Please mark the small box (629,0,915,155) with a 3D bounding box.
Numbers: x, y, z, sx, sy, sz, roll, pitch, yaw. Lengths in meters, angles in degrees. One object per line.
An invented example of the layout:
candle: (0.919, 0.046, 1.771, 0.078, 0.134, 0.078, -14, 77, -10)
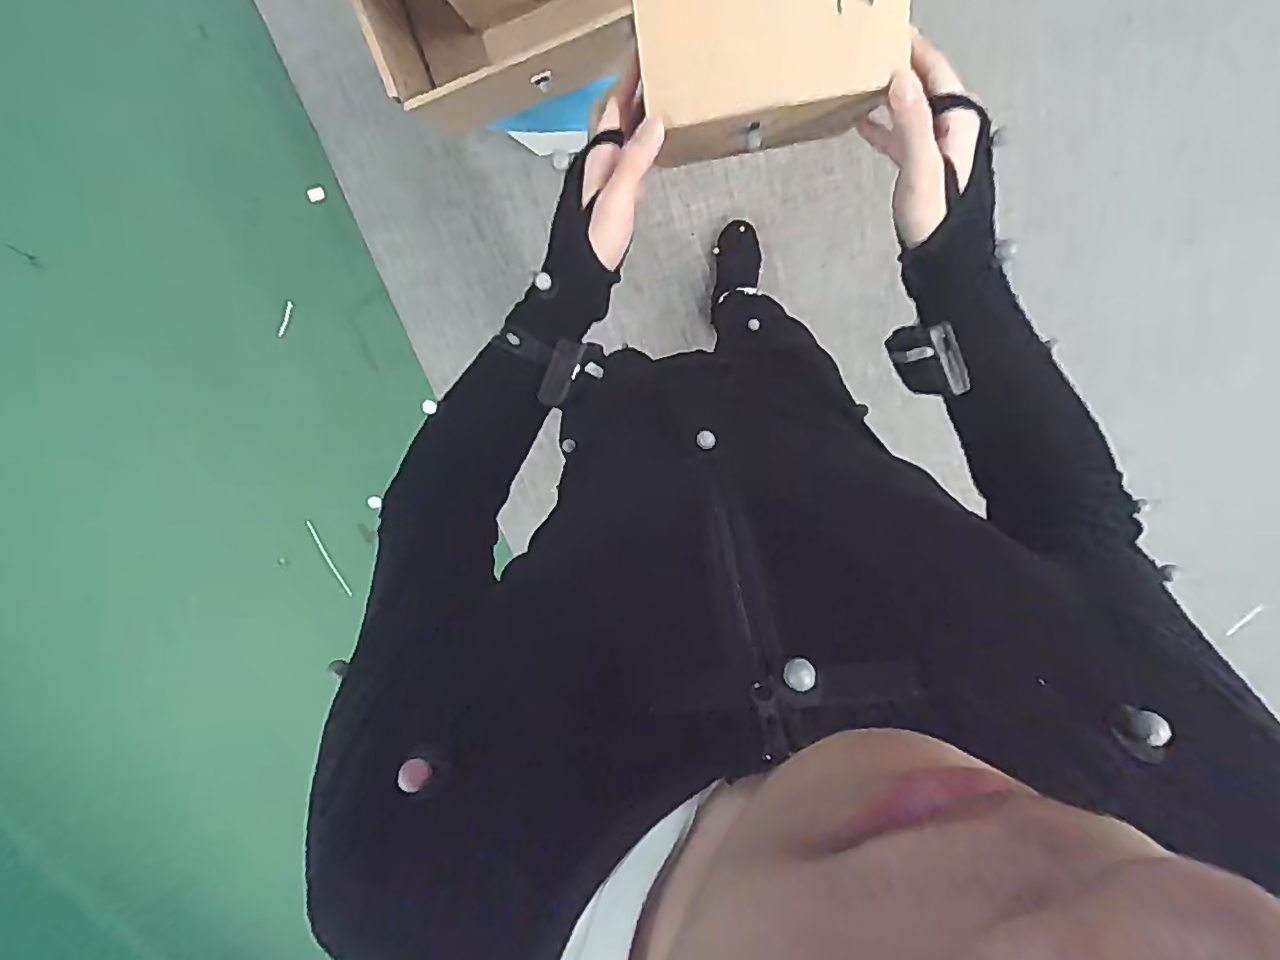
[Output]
small box: (0.084, -0.359, 0.400, 0.179, 0.176, 0.168, -6, 111, 7)
